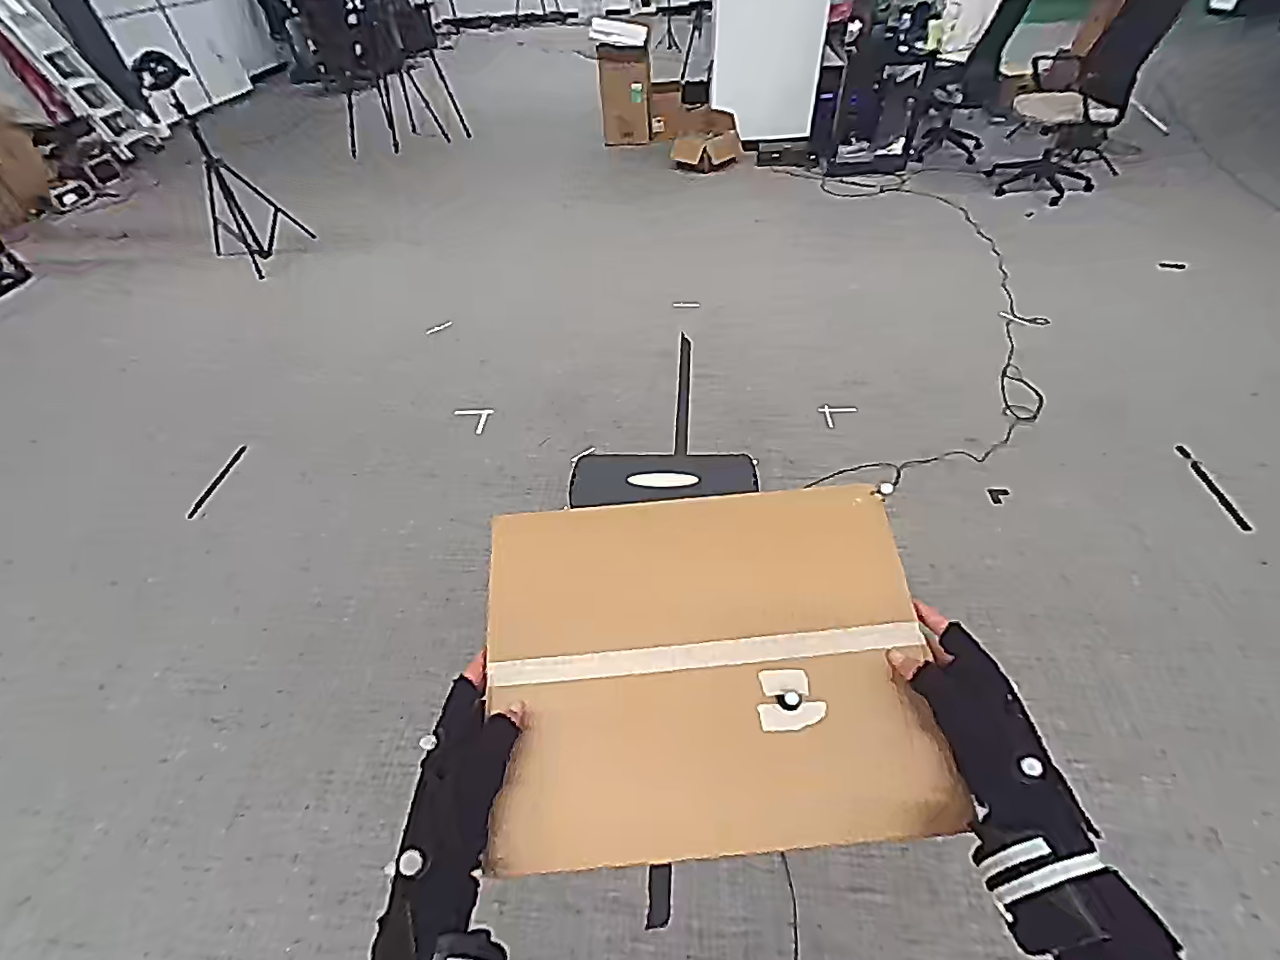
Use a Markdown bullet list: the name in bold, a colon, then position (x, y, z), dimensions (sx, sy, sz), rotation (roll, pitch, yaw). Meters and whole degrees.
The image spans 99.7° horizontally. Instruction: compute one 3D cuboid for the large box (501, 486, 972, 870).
- **large box**: position (0.070, 0.227, 0.643), dimensions (0.408, 0.320, 0.320), rotation (-5, 65, -1)
